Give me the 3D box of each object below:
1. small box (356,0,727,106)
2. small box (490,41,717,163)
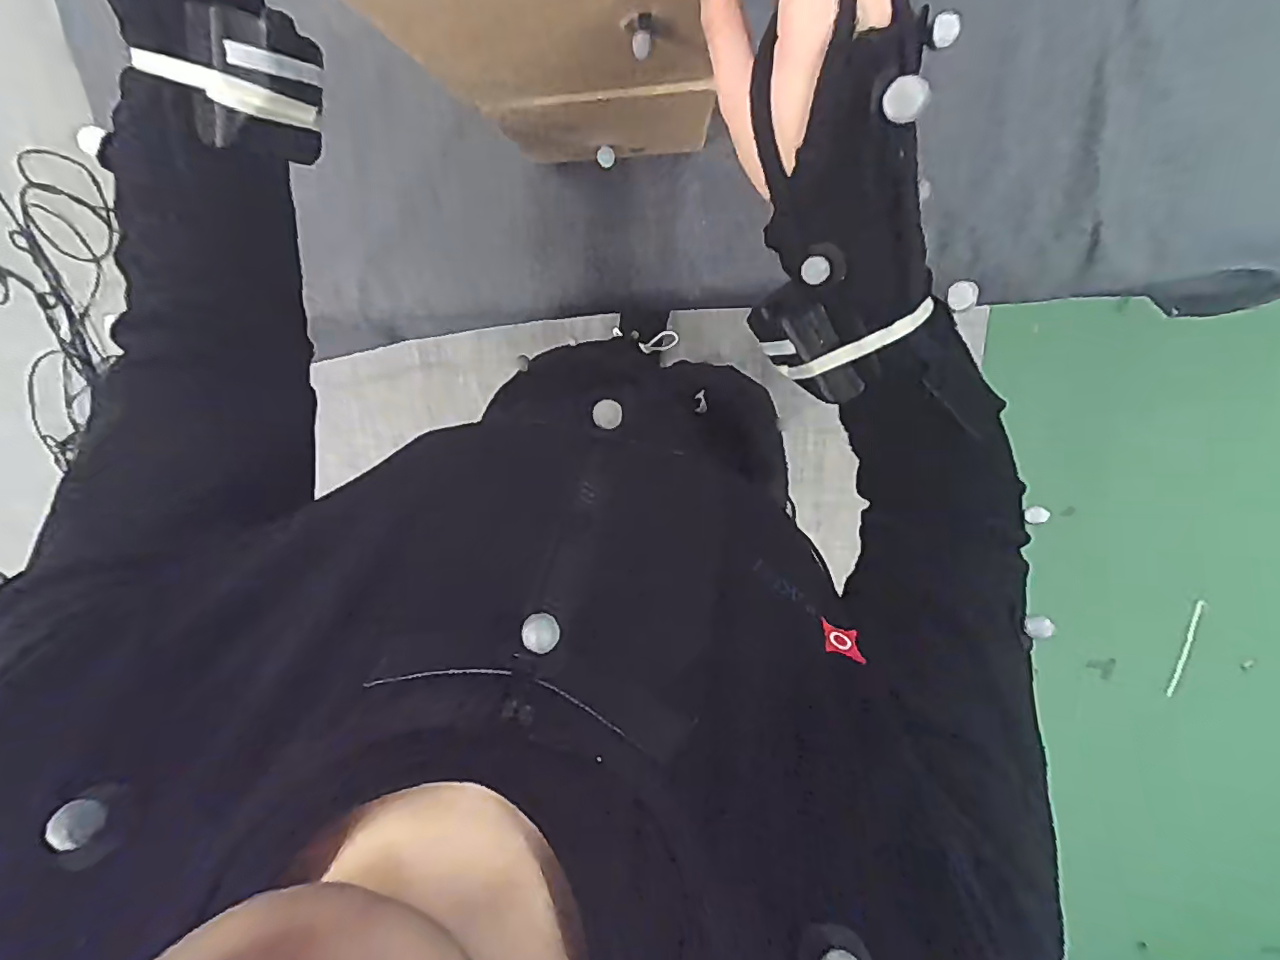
[{"bbox_3d":[-0.044,-0.314,0.267,0.179,0.176,0.168,-3,107,6],"label":"small box"},{"bbox_3d":[-0.029,-0.368,0.420,0.168,0.176,0.179,-2,109,4],"label":"small box"}]
